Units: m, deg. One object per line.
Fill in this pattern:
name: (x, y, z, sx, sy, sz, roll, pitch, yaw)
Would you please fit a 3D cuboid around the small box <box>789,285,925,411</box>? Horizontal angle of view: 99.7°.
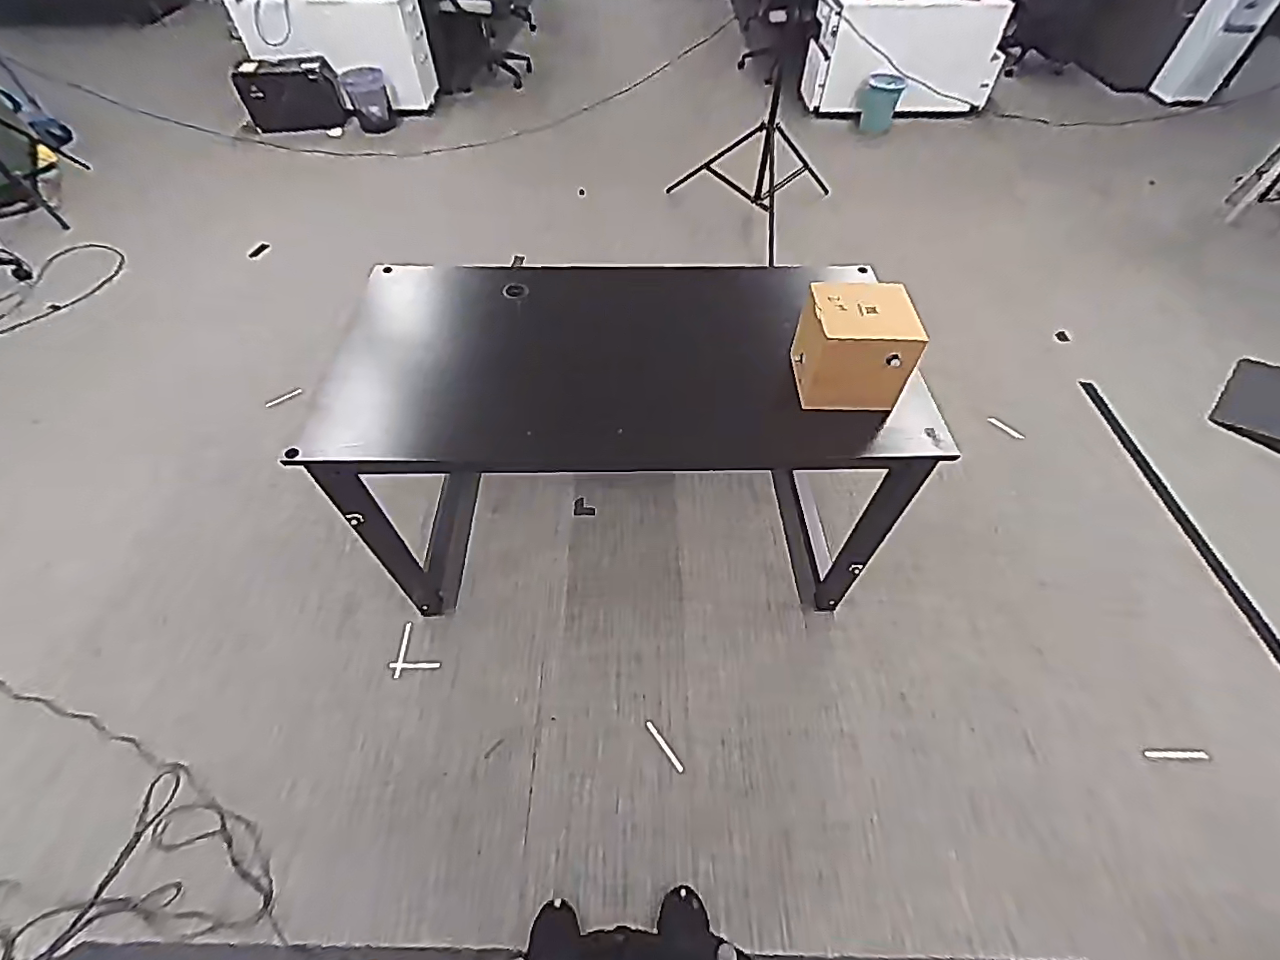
small box: (0.394, -0.244, 1.015, 0.179, 0.176, 0.168, 1, 52, 1)
